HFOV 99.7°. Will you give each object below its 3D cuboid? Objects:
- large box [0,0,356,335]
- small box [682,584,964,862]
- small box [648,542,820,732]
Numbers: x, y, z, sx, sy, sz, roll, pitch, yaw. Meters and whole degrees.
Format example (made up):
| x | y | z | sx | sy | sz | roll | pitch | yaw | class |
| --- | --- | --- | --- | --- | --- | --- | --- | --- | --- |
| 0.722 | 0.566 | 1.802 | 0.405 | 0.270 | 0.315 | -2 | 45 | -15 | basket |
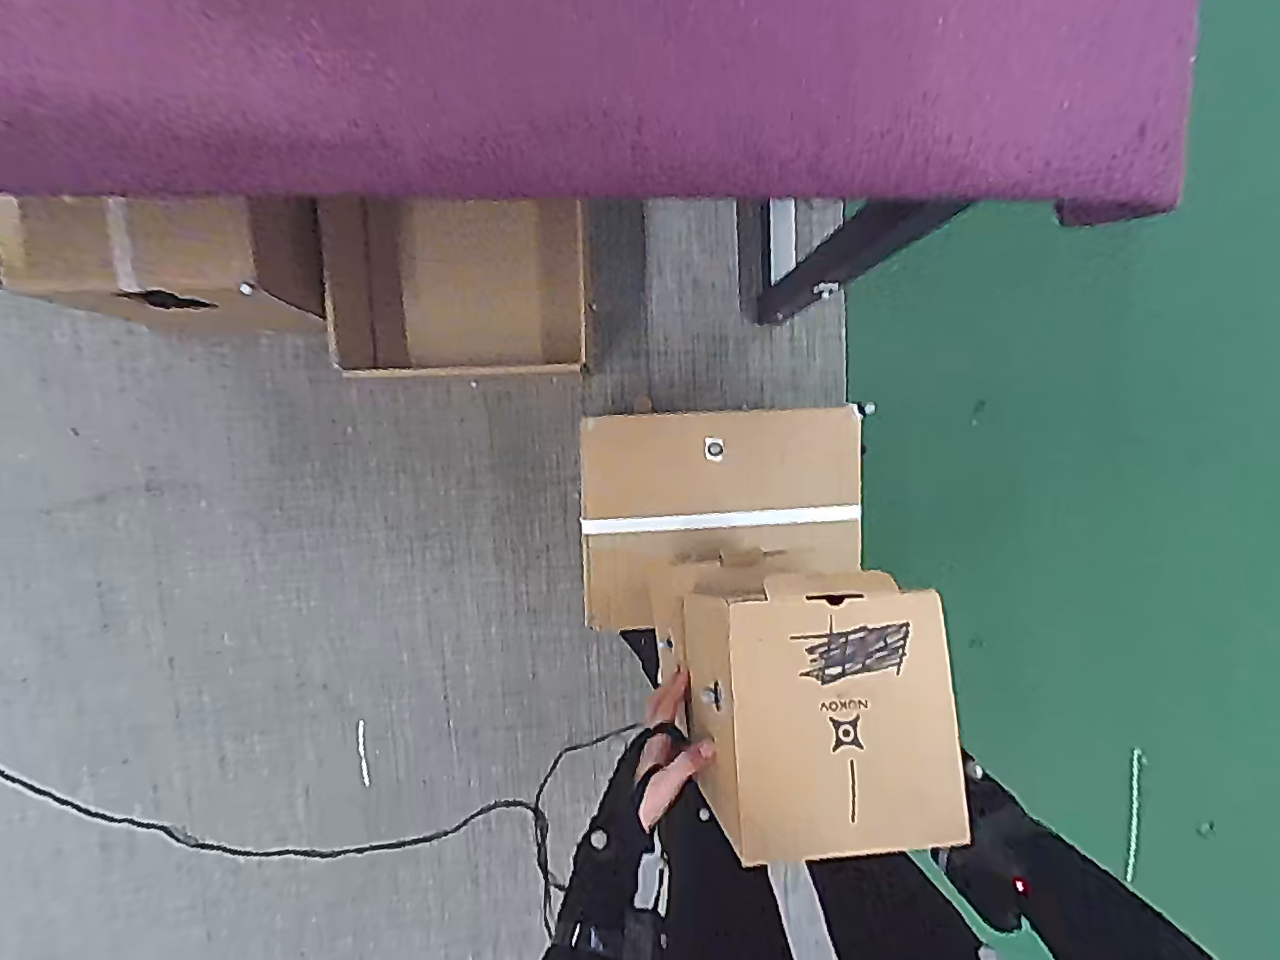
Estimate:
| x | y | z | sx | sy | sz | roll | pitch | yaw | class |
| --- | --- | --- | --- | --- | --- | --- | --- | --- | --- |
| -0.675 | -0.455 | 0.829 | 0.320 | 0.320 | 0.408 | -3 | 96 | -4 | large box |
| 0.131 | 0.178 | 0.455 | 0.168 | 0.176 | 0.179 | -1 | 81 | -6 | small box |
| 0.105 | 0.176 | 0.626 | 0.168 | 0.176 | 0.179 | -5 | 77 | -6 | small box |
